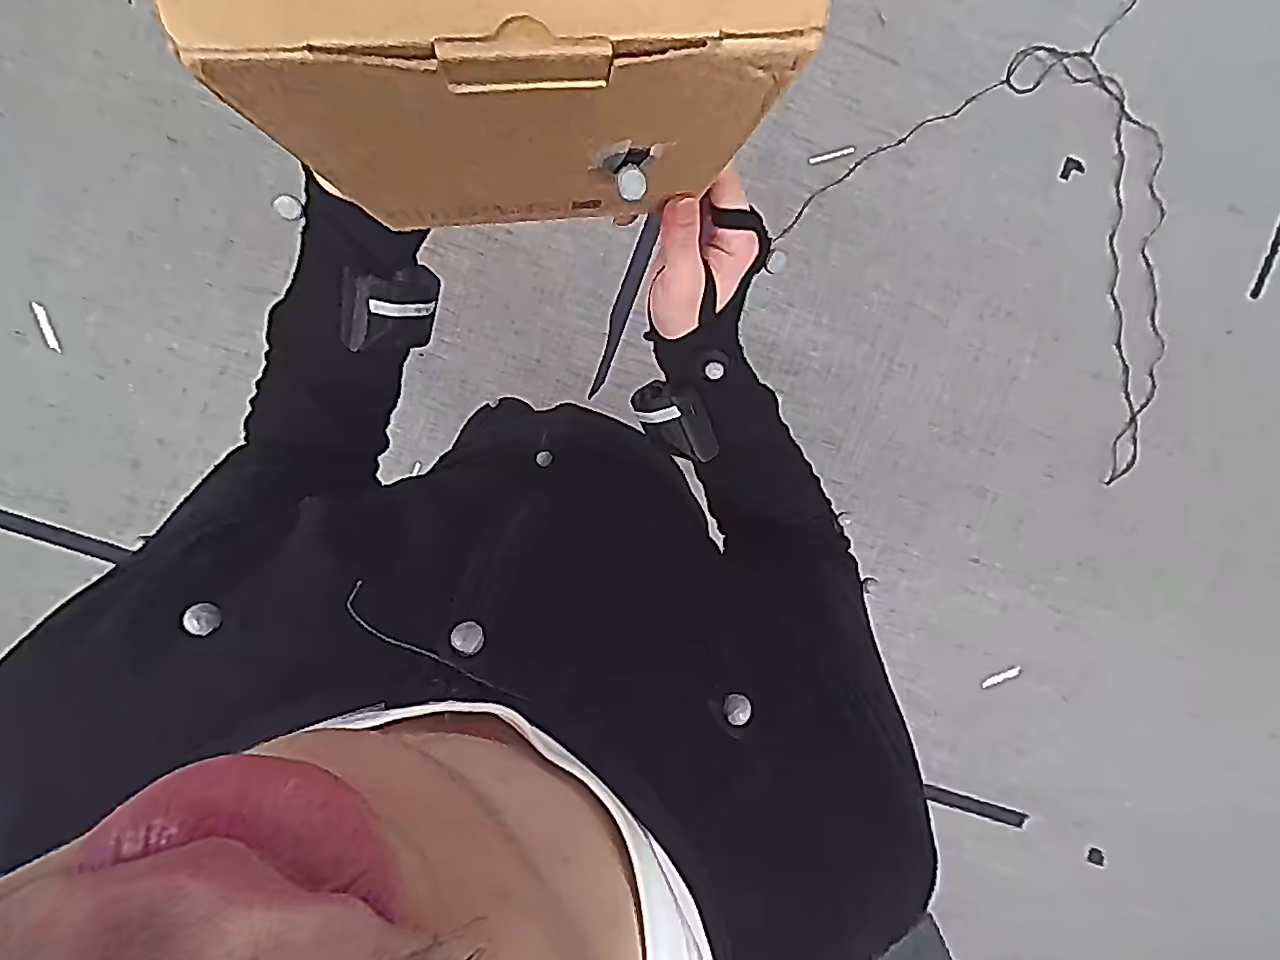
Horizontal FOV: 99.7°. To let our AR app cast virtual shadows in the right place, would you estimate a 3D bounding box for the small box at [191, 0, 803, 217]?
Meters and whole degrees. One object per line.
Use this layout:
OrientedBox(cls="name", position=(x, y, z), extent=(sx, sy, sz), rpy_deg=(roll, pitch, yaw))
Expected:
OrientedBox(cls="small box", position=(-0.051, -0.214, 0.208), extent=(0.168, 0.176, 0.179), rpy_deg=(-8, 102, -7))
